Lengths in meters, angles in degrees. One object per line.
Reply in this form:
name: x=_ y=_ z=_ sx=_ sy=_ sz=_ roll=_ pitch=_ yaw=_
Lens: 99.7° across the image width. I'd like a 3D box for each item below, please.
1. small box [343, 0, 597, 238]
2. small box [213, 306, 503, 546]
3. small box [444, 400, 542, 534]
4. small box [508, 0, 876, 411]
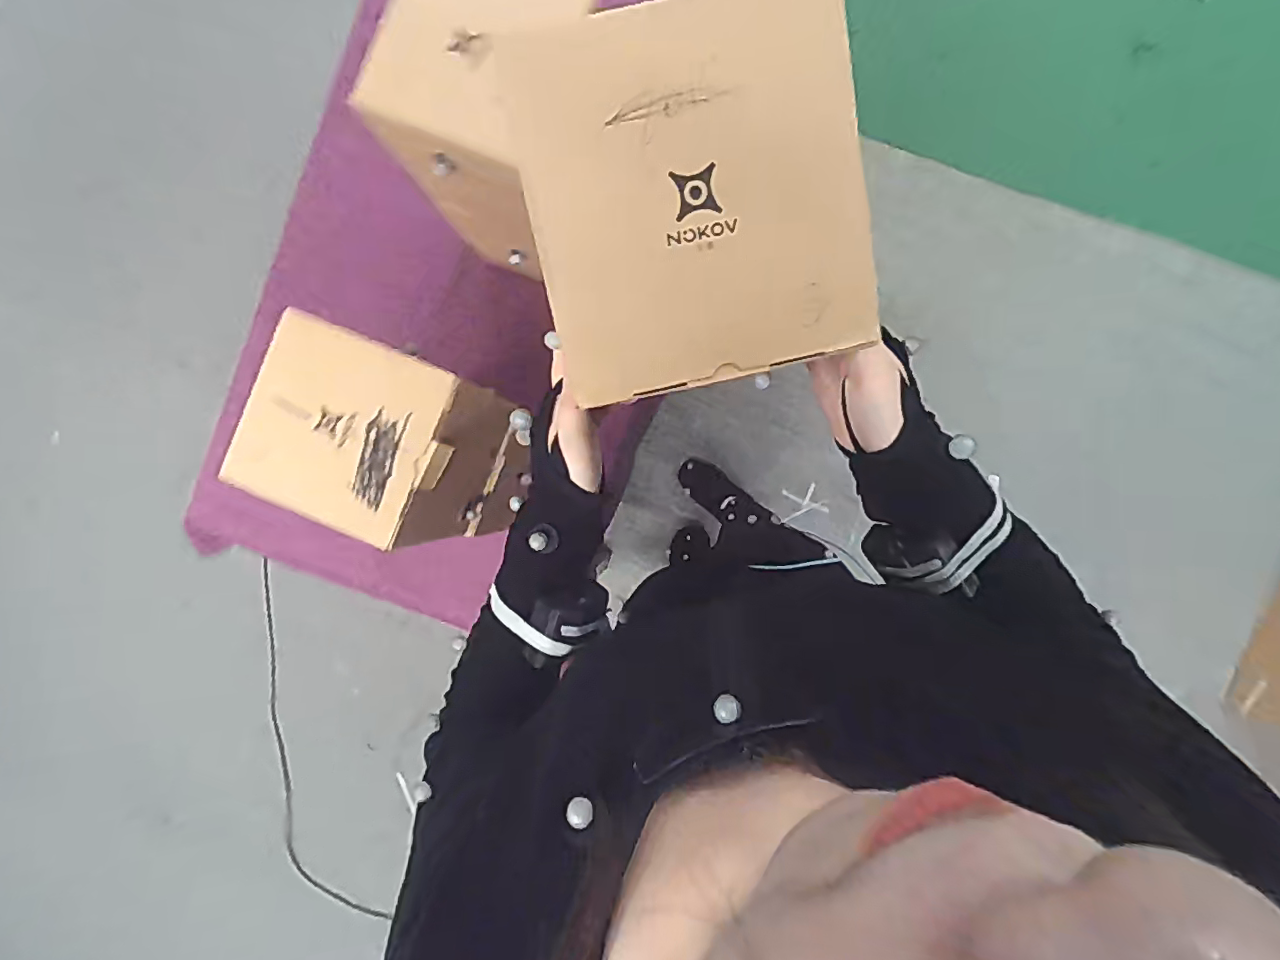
small box: x=-0.147 y=-0.378 z=0.548 sx=0.179 sy=0.176 sz=0.168 roll=24 pitch=92 yaw=3
small box: x=-0.266 y=-0.049 z=0.554 sx=0.179 sy=0.176 sz=0.168 roll=23 pitch=91 yaw=4
small box: x=-0.249 y=-0.043 z=0.719 sx=0.179 sy=0.176 sz=0.168 roll=22 pitch=90 yaw=3
small box: x=0.030 y=-0.150 z=0.345 sx=0.168 sy=0.176 sz=0.179 roll=-10 pitch=102 yaw=0
